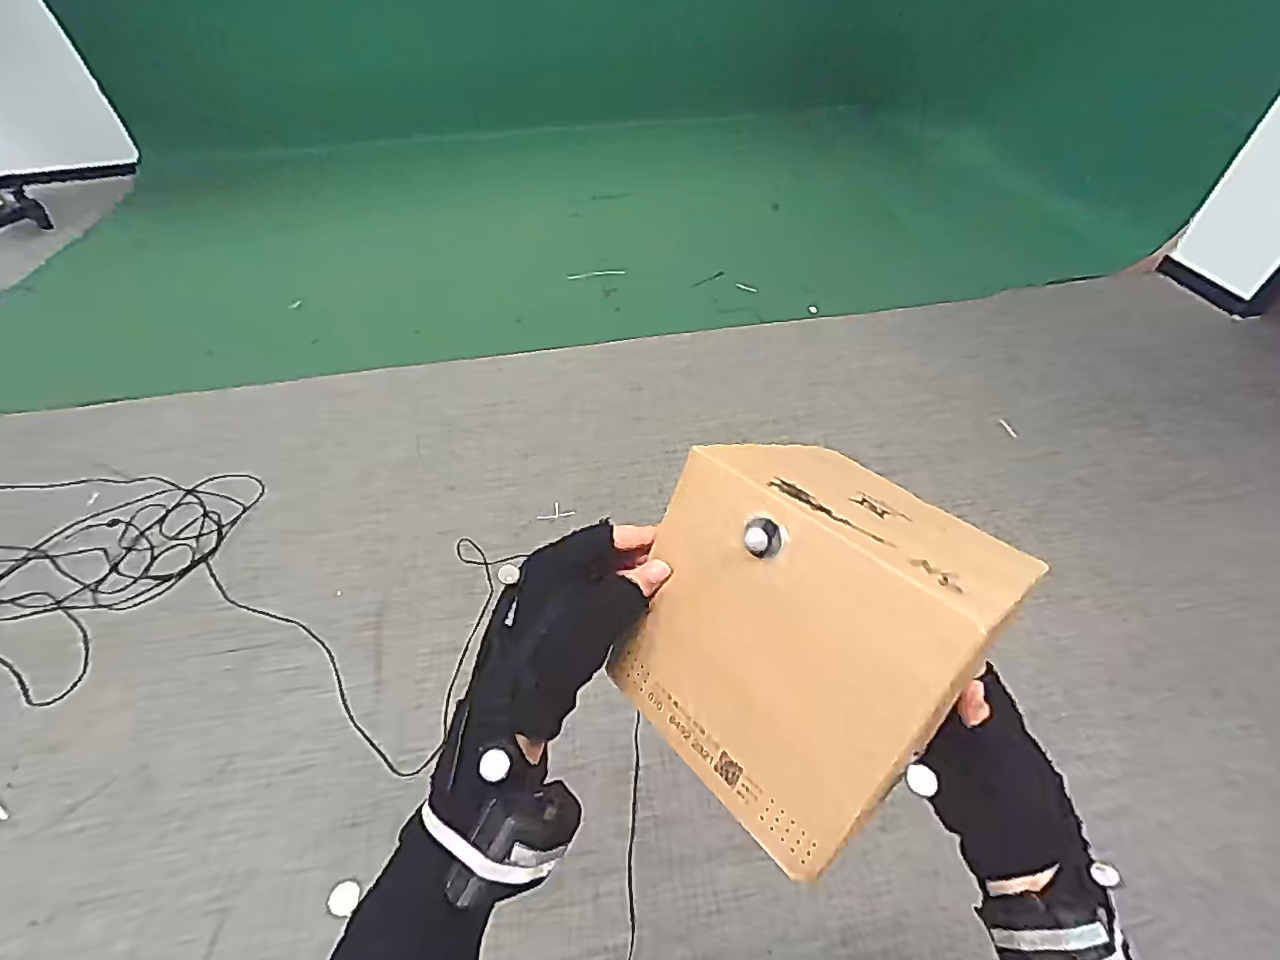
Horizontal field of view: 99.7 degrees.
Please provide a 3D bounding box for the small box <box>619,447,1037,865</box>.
[{"bbox_3d":[0.115,0.092,0.356,0.179,0.176,0.168,-2,31,-47],"label":"small box"}]
